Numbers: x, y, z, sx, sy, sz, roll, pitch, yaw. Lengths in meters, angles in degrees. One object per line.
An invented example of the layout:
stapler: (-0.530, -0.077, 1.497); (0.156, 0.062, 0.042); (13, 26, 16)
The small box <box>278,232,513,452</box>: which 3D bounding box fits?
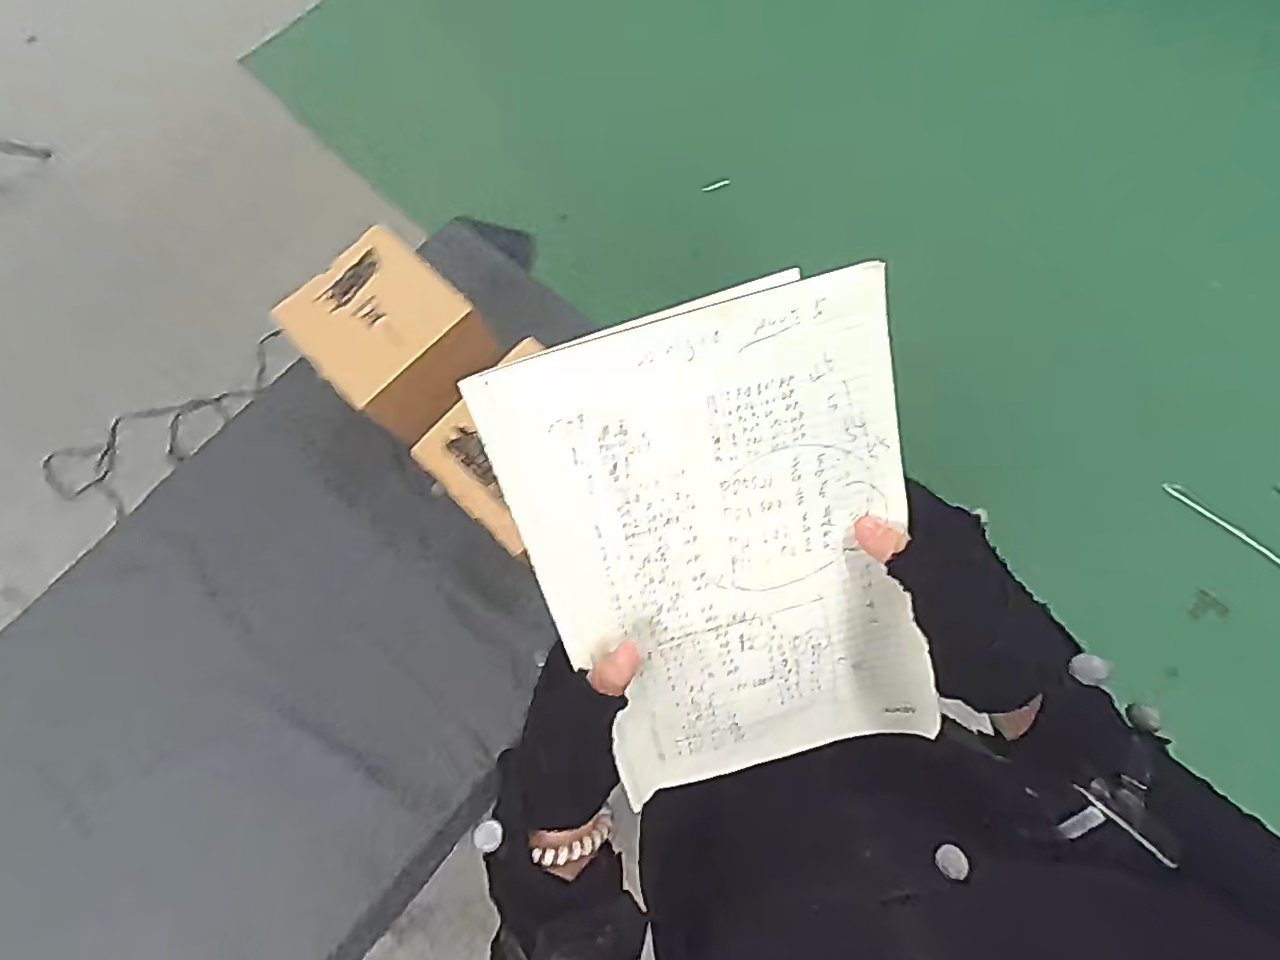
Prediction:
small box: (-0.294, -0.163, 0.686); (0.179, 0.176, 0.168); (43, 82, 14)
